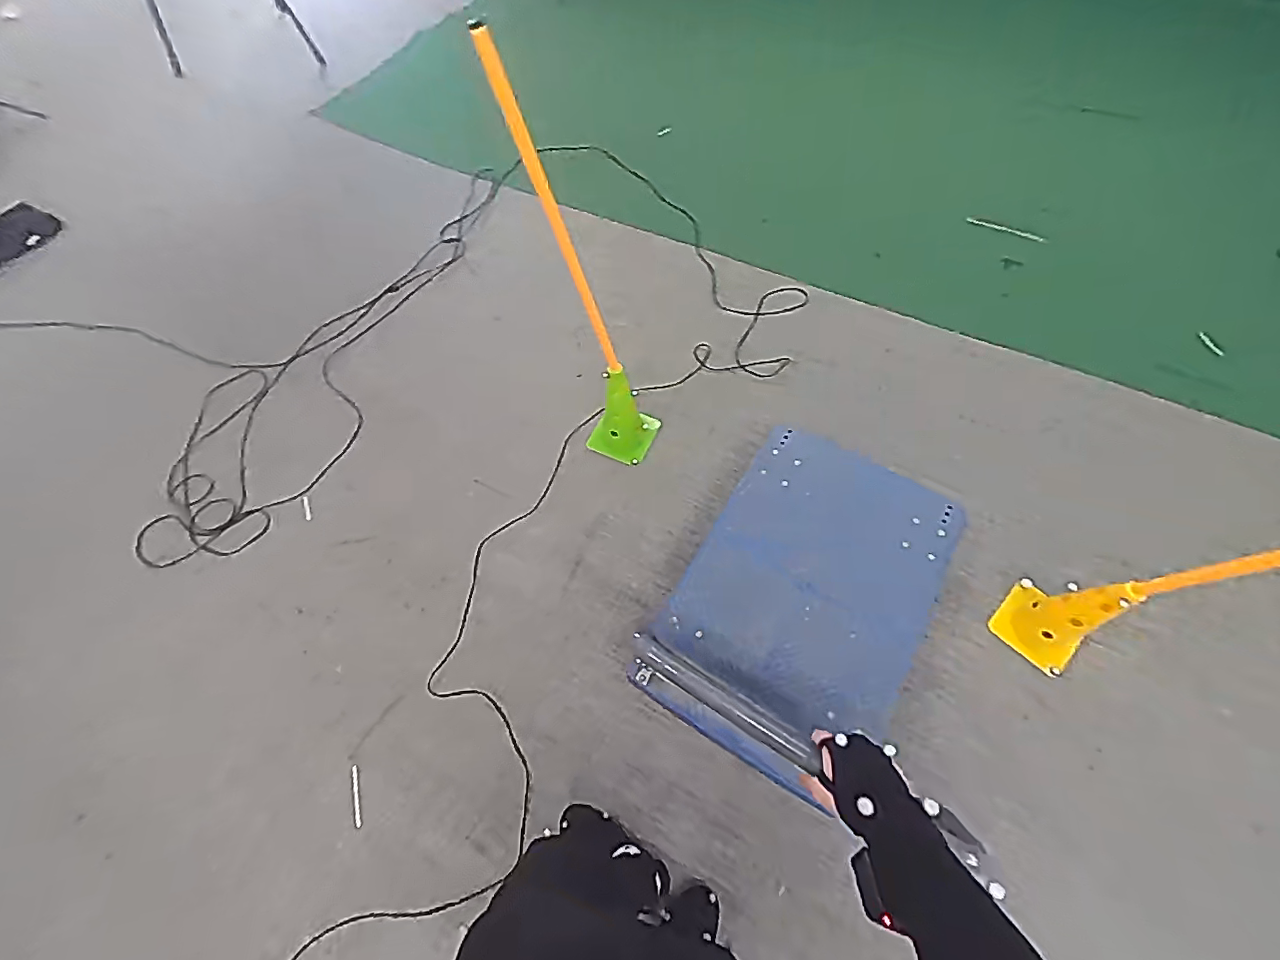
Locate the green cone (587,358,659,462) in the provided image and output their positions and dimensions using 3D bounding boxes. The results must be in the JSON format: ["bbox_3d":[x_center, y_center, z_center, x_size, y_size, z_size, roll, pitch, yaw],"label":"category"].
[{"bbox_3d":[-0.069,-0.248,1.682,0.202,0.368,0.200,20,65,15],"label":"green cone"}]
